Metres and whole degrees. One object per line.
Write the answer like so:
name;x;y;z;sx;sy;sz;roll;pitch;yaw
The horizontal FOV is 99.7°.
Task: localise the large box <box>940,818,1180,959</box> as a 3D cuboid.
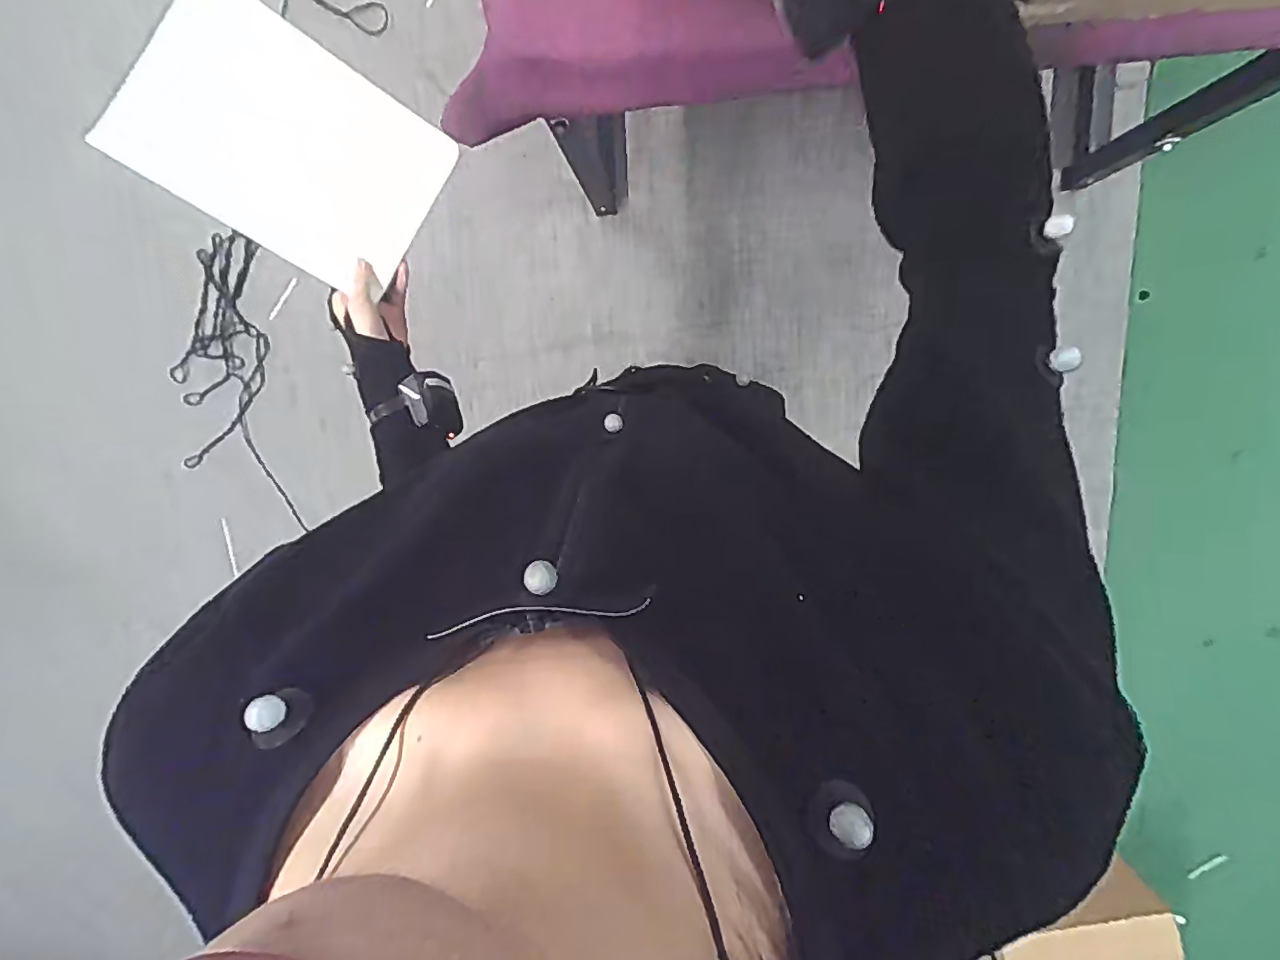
large box;1.113;1.197;1.462;0.408;0.320;0.320;-16;98;6
